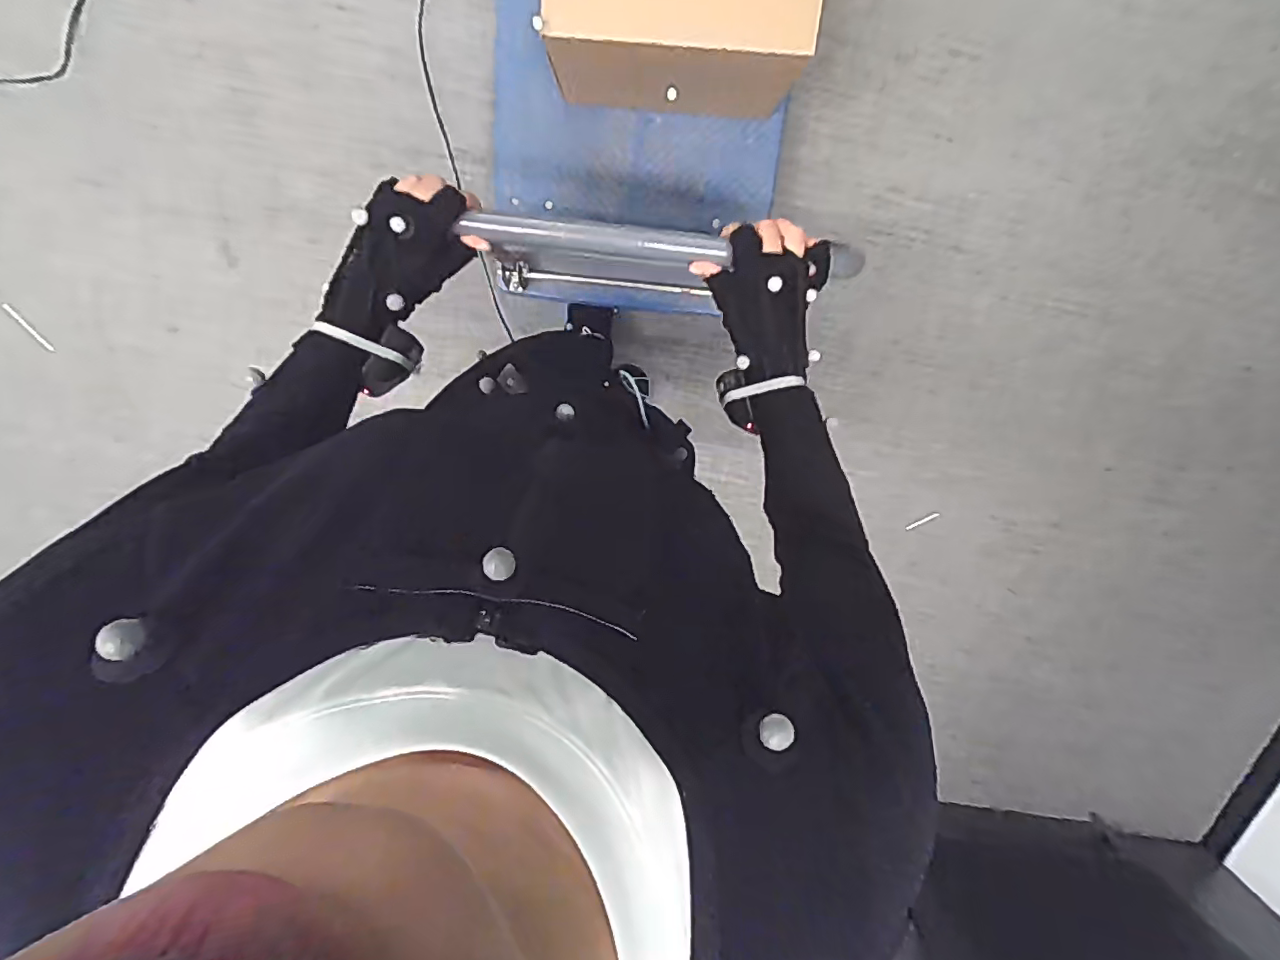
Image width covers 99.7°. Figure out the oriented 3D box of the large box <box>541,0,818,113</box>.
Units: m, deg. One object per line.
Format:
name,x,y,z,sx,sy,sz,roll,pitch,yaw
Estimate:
large box,0.065,-0.831,0.886,0.408,0.320,0.320,3,108,-1
